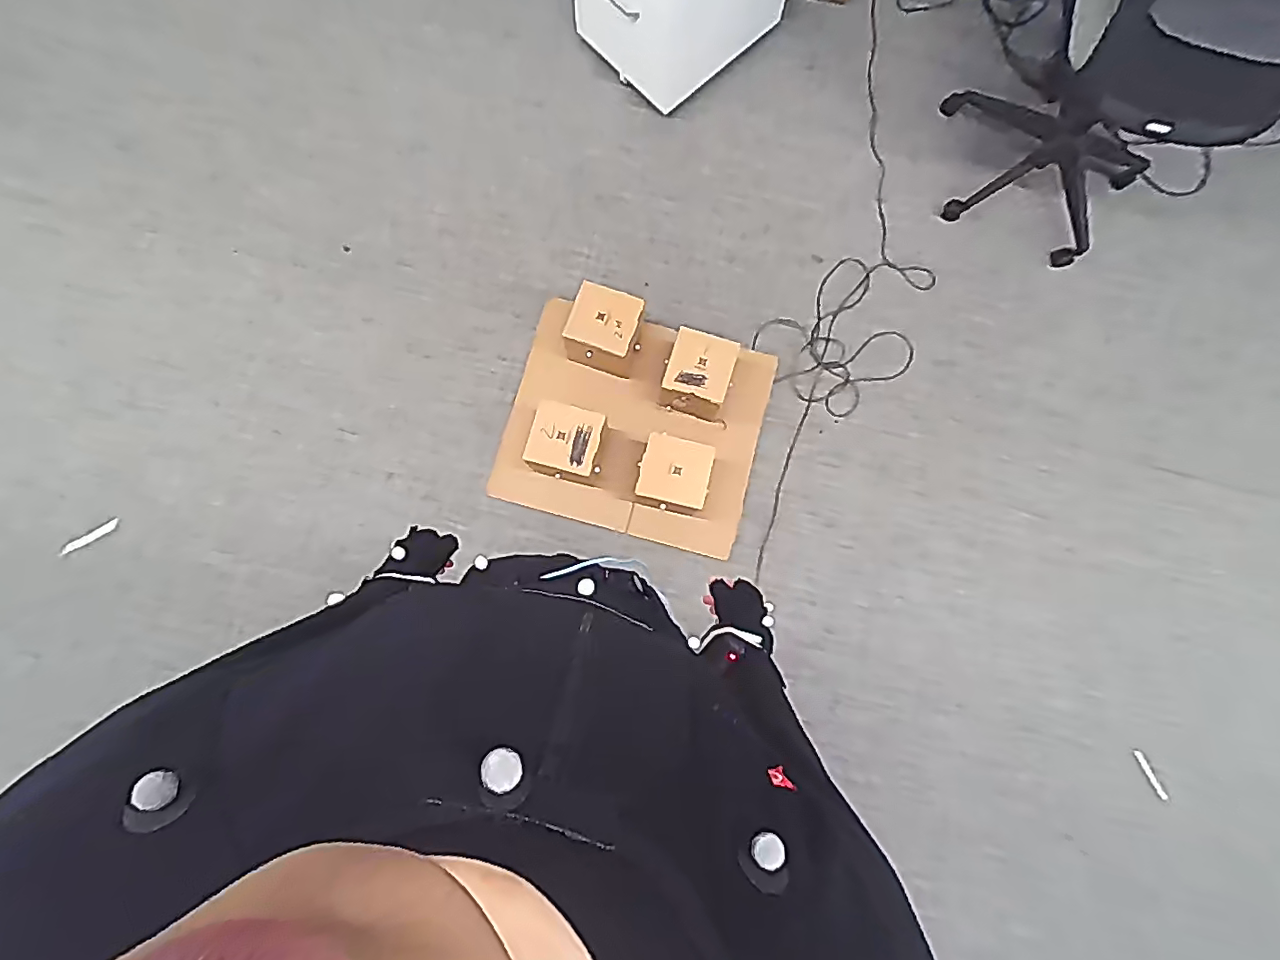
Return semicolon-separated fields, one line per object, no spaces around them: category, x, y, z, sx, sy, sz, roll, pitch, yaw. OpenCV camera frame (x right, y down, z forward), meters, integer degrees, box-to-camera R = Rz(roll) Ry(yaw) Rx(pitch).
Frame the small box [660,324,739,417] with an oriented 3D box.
small box;0.156;-0.291;1.479;0.168;0.176;0.179;18;81;2

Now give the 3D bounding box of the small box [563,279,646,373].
small box;-0.095;-0.415;1.486;0.179;0.176;0.168;20;82;1
